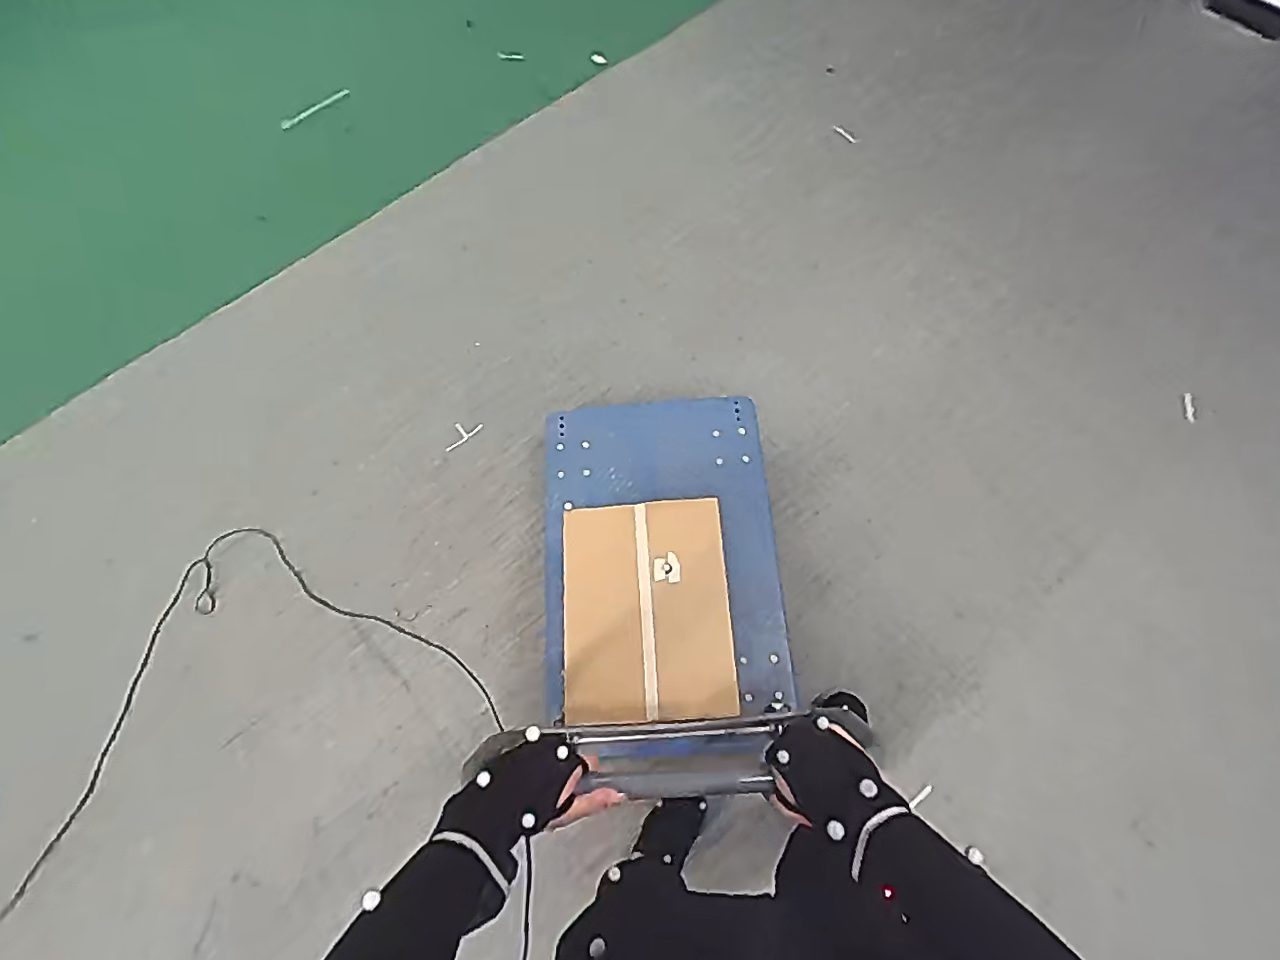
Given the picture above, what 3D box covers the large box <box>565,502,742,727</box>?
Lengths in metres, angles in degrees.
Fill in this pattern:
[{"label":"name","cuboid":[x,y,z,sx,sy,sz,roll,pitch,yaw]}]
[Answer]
[{"label":"large box","cuboid":[0.025,0.295,1.163,0.320,0.320,0.408,-5,69,2]}]
